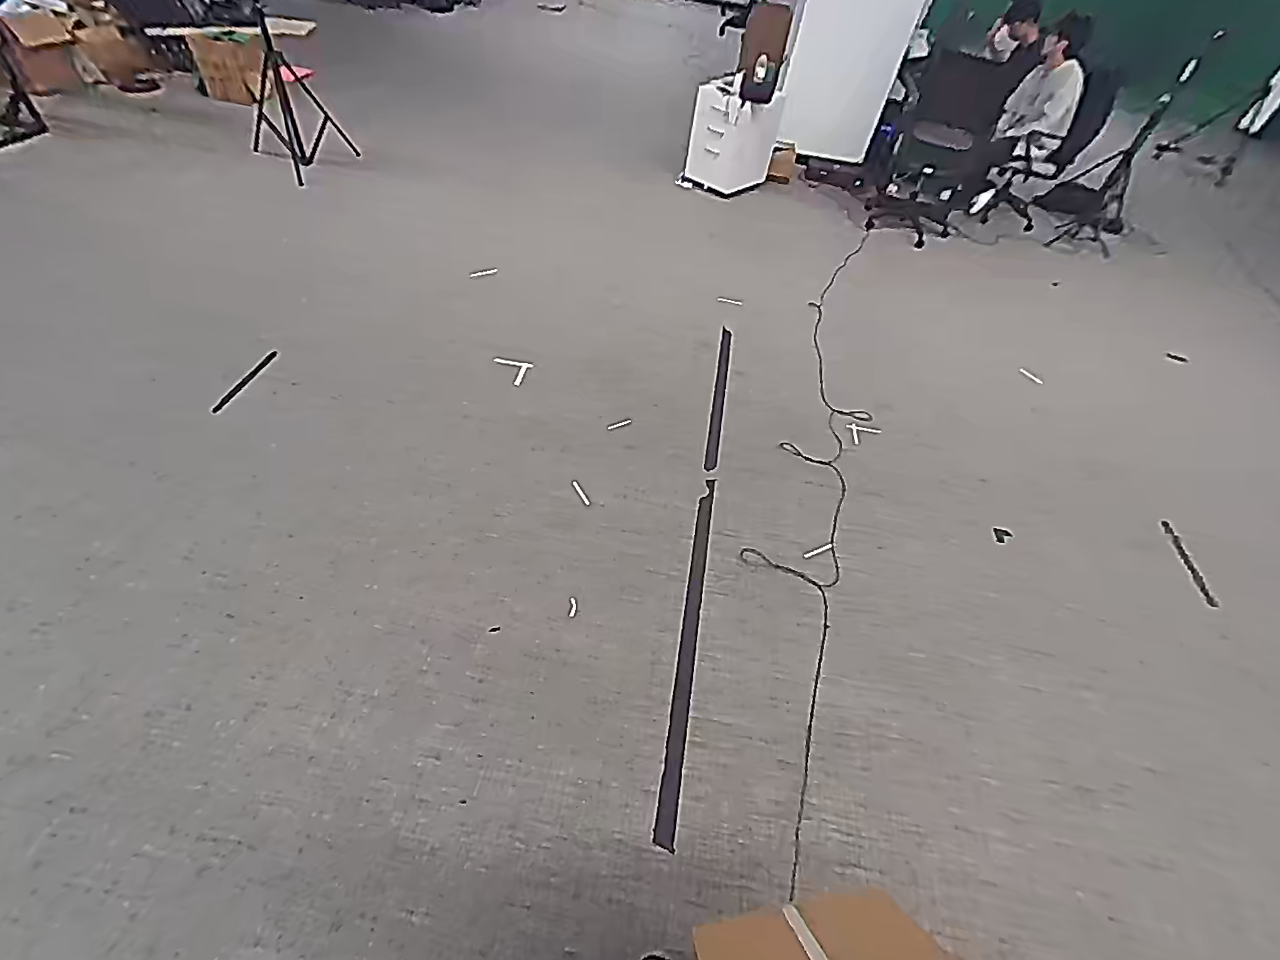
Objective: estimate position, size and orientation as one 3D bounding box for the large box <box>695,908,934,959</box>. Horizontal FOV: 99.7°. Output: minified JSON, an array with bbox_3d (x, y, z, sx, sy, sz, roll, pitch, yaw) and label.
[{"bbox_3d":[0.264,0.786,0.619,0.320,0.408,0.320,-8,75,-4],"label":"large box"}]
